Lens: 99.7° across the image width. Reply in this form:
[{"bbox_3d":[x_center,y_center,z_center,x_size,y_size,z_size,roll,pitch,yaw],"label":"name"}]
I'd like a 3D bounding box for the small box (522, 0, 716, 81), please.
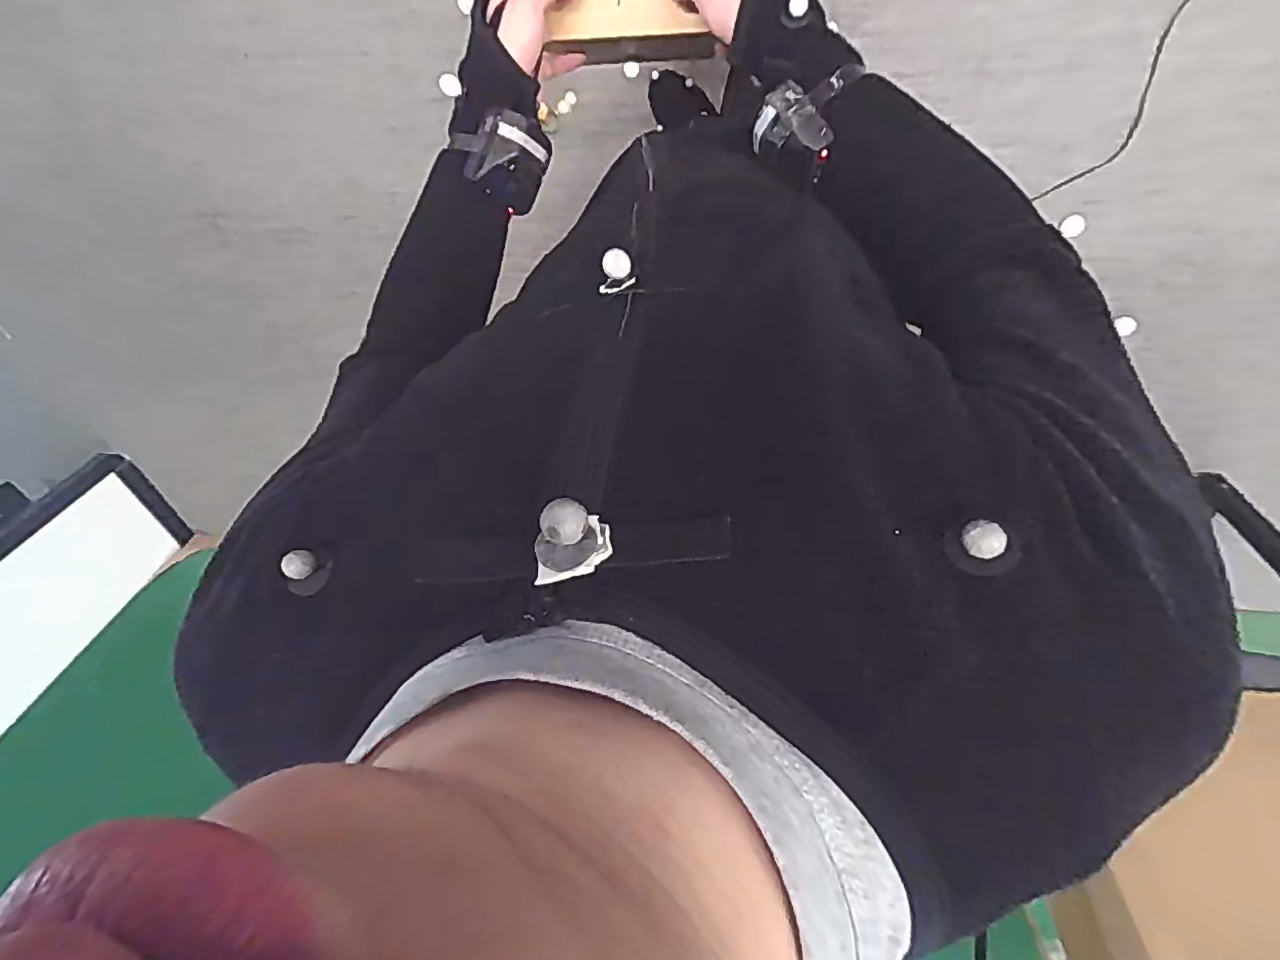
[{"bbox_3d":[-0.012,-0.489,0.498,0.168,0.176,0.179,2,122,7],"label":"small box"}]
